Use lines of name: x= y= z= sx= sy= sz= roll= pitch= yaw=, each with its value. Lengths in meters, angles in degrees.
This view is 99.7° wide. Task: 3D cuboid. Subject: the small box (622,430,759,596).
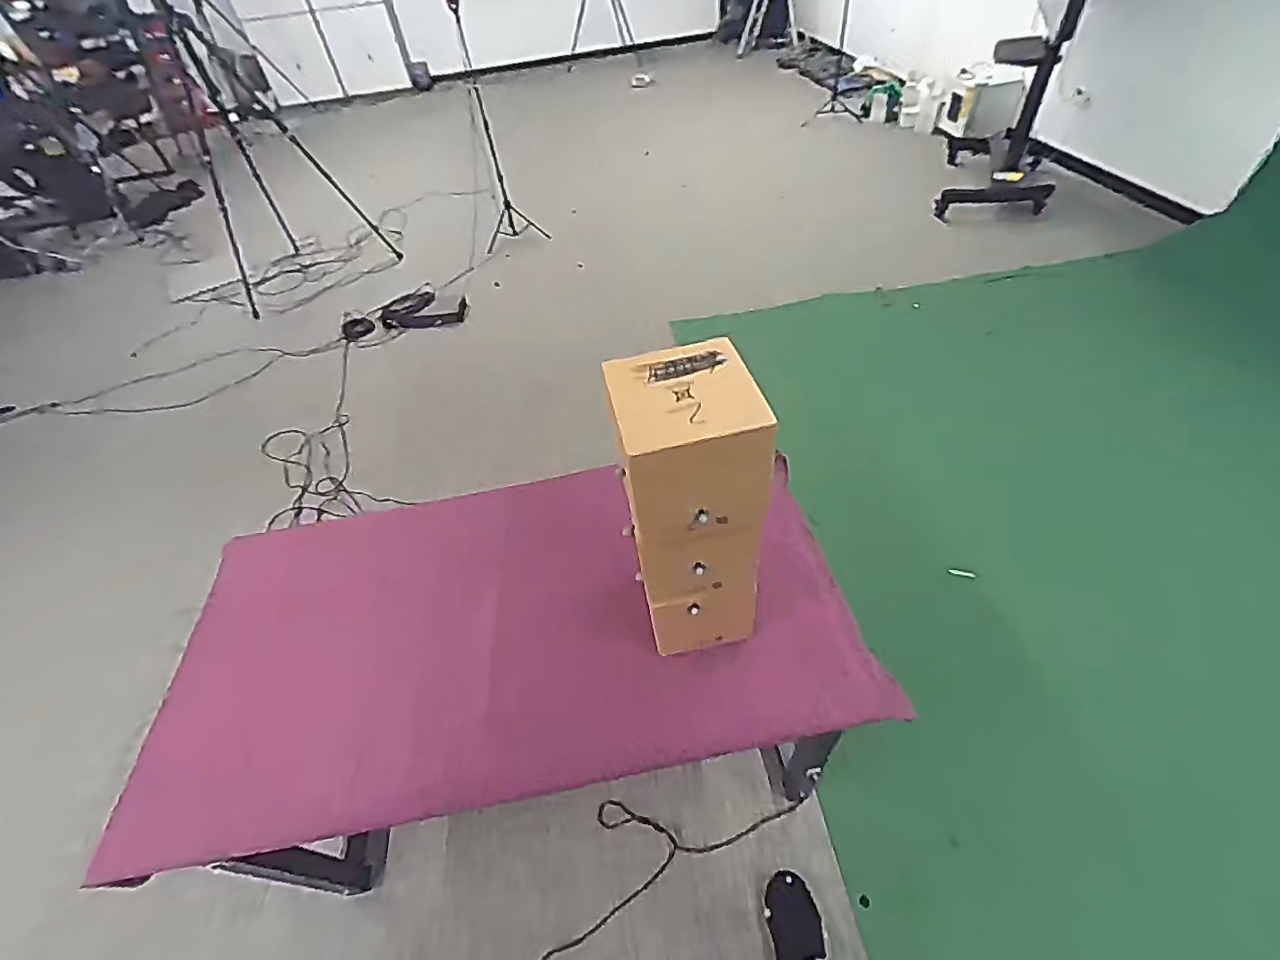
small box: x=0.072 y=0.056 z=0.801 sx=0.168 sy=0.176 sz=0.179 roll=-10 pitch=47 yaw=-1

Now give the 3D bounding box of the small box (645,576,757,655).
small box: x=0.091 y=0.169 z=0.921 sx=0.168 sy=0.176 sz=0.179 roll=-12 pitch=46 yaw=-1
